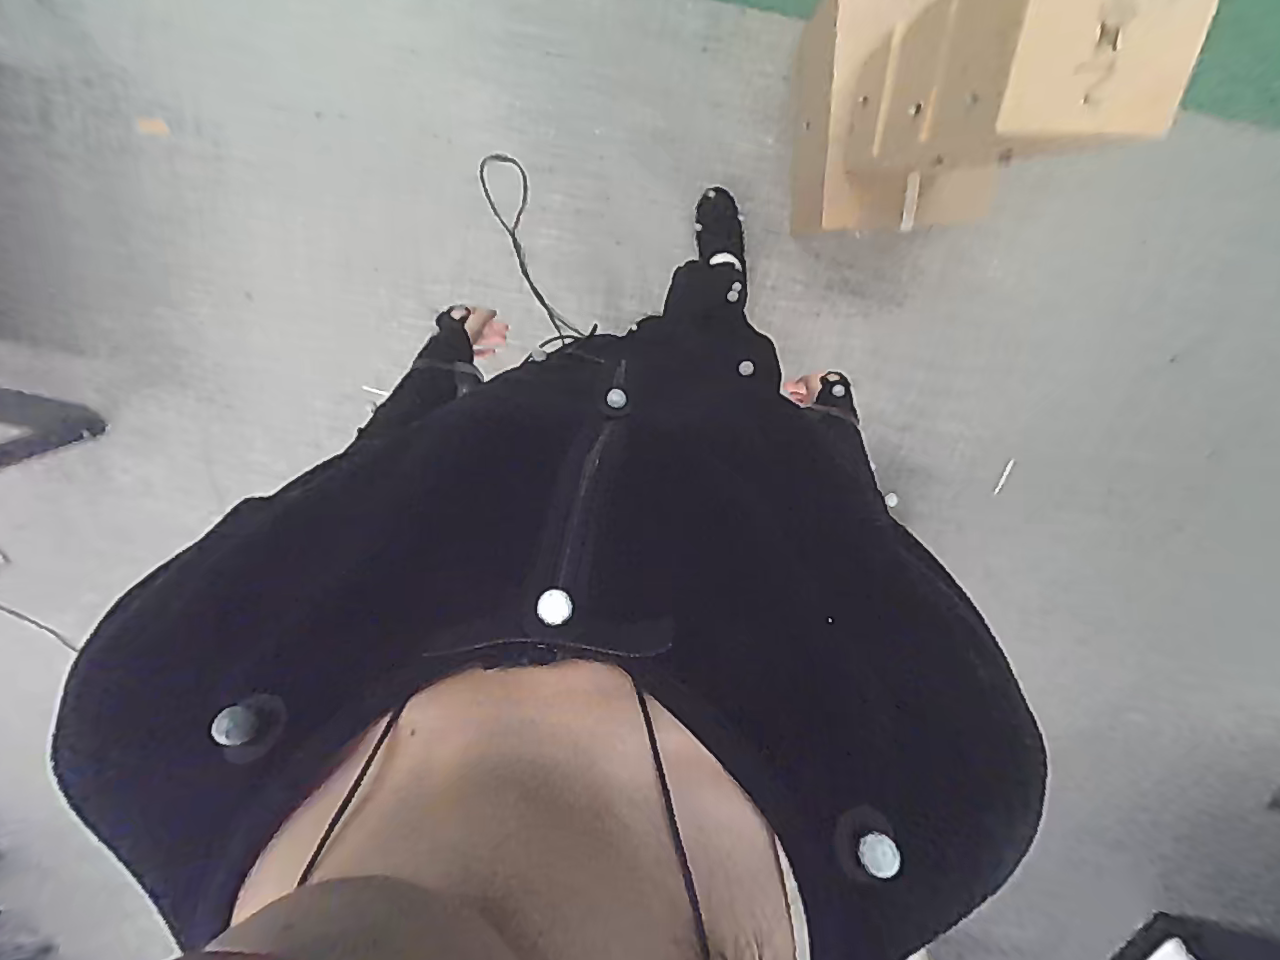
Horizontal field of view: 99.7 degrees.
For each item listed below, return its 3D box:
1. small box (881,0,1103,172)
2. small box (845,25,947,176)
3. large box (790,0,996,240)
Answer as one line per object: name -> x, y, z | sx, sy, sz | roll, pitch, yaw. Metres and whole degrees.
small box -> 0.443, -0.523, 0.715 | 0.168, 0.176, 0.179 | 5, 114, 1
small box -> 0.446, -0.591, 0.863 | 0.179, 0.176, 0.168 | 4, 114, 2
large box -> 0.489, -0.712, 1.076 | 0.320, 0.320, 0.408 | -2, 112, 3
